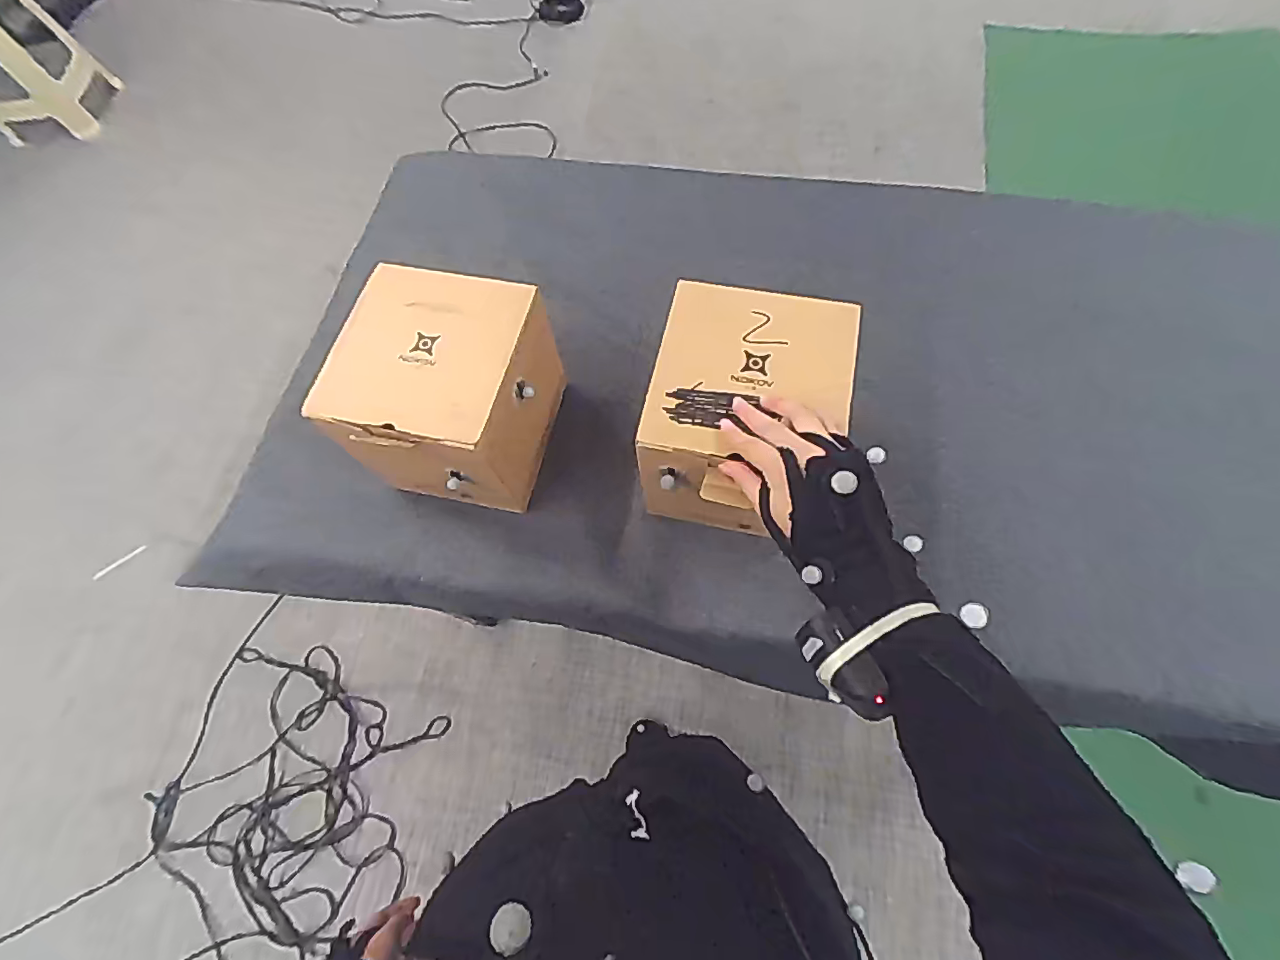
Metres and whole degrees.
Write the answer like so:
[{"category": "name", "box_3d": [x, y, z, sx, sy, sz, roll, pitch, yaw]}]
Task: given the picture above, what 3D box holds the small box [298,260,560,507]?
[{"category": "small box", "box_3d": [-0.190, -0.088, 0.551, 0.168, 0.176, 0.179, 11, 67, 6]}]
